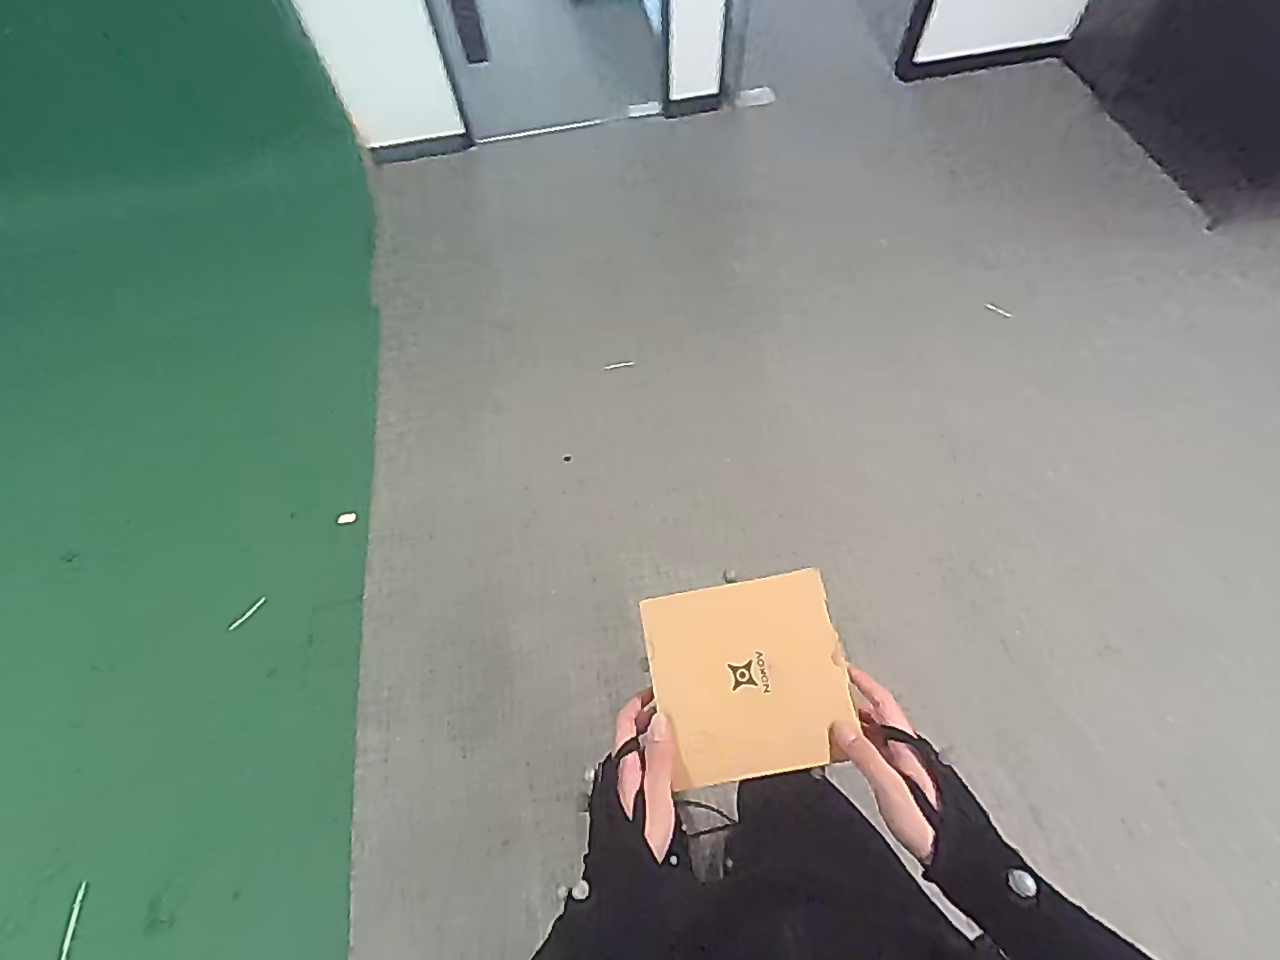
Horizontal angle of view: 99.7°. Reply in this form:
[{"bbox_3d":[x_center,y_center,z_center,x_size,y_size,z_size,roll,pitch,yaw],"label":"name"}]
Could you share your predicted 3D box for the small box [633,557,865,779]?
[{"bbox_3d":[0.098,0.186,0.554,0.179,0.176,0.168,-11,73,1],"label":"small box"}]
